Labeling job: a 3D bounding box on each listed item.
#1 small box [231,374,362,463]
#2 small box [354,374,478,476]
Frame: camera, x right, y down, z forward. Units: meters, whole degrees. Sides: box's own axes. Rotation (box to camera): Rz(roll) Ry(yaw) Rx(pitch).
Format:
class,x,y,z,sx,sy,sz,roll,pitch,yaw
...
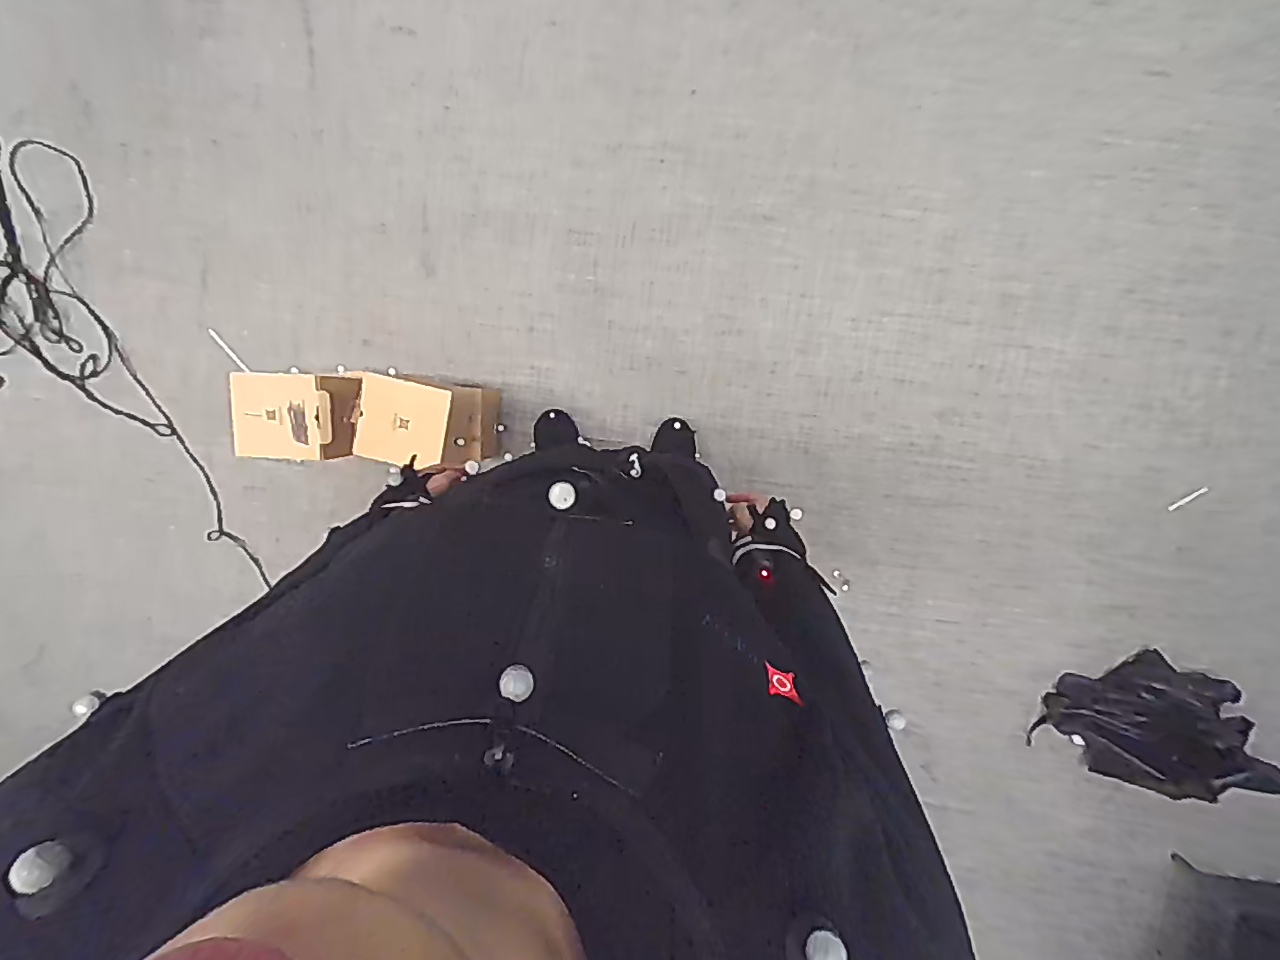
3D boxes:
class,x,y,z,sx,sy,sz,roll,pitch,yaw
small box,-0.690,-0.129,1.112,0.179,0.176,0.168,3,98,2
small box,-0.451,-0.118,1.111,0.179,0.176,0.168,13,99,0
